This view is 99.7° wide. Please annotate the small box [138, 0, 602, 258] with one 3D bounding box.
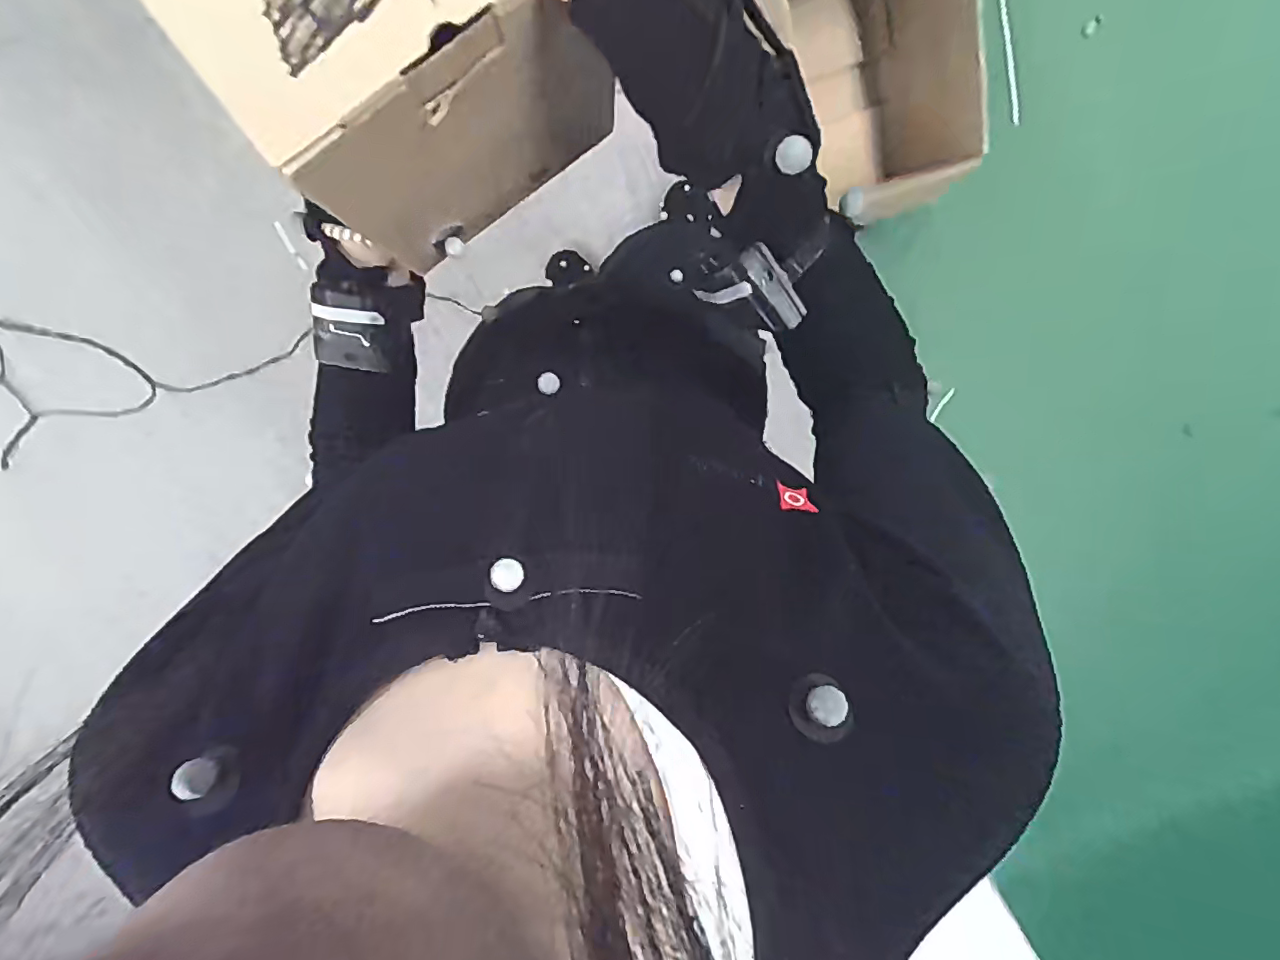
[{"bbox_3d":[-0.129,-0.240,0.277,0.168,0.176,0.179,-37,98,0],"label":"small box"}]
